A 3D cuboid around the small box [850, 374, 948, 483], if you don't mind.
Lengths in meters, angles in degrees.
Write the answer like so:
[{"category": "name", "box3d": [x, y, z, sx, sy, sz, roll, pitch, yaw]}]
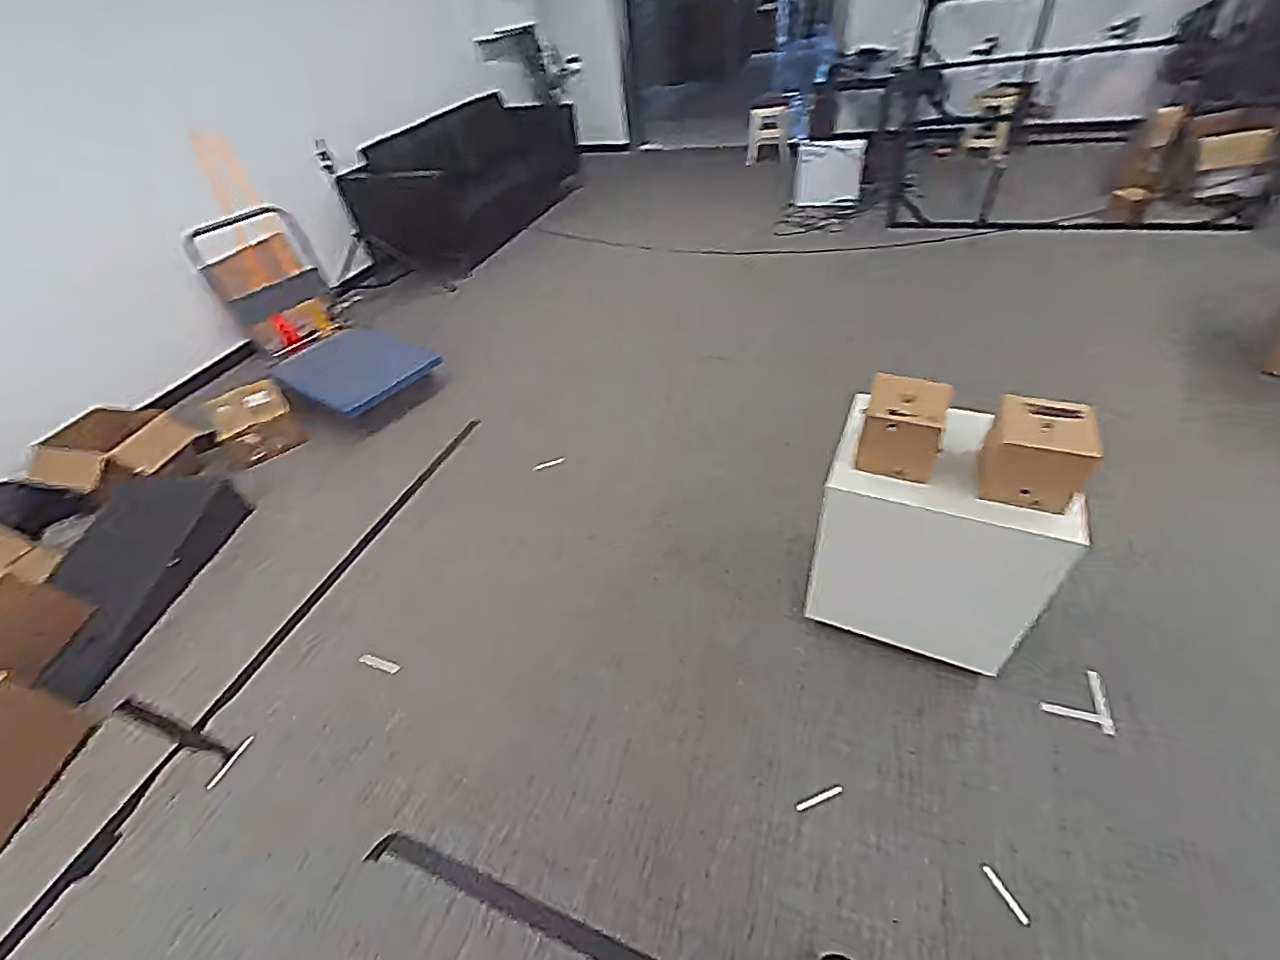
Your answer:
[{"category": "small box", "box3d": [0.602, -0.122, 1.266, 0.168, 0.176, 0.179, 15, 47, 23]}]
